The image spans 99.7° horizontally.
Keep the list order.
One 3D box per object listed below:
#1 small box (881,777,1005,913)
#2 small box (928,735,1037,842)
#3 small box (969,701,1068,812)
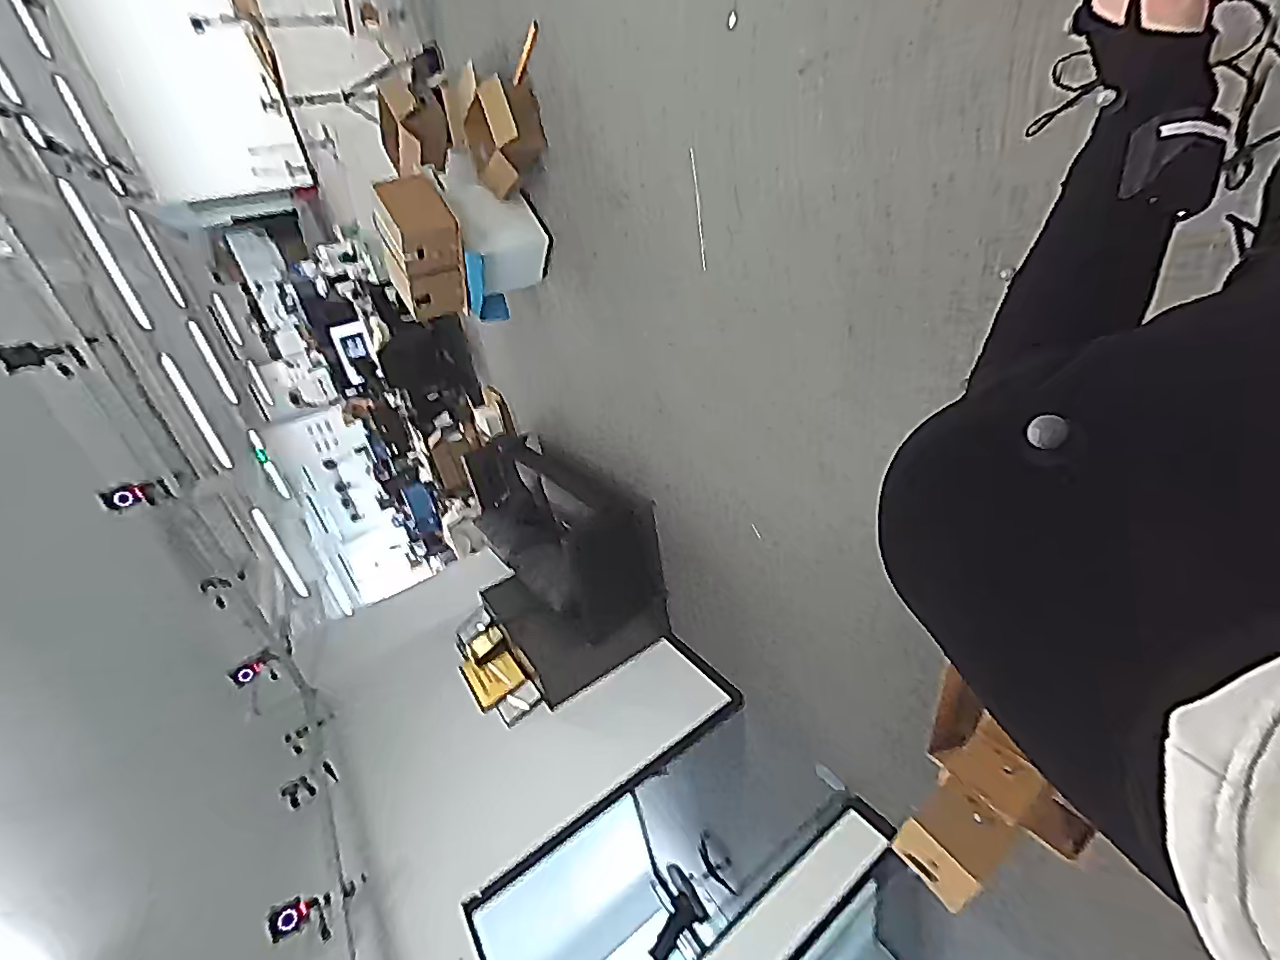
[{"bbox_3d":[0.698,0.836,1.247,0.168,0.176,0.179,40,142,41],"label":"small box"},{"bbox_3d":[0.830,0.773,1.323,0.168,0.176,0.179,32,136,49],"label":"small box"},{"bbox_3d":[0.962,0.718,1.398,0.168,0.176,0.179,32,137,48],"label":"small box"}]
